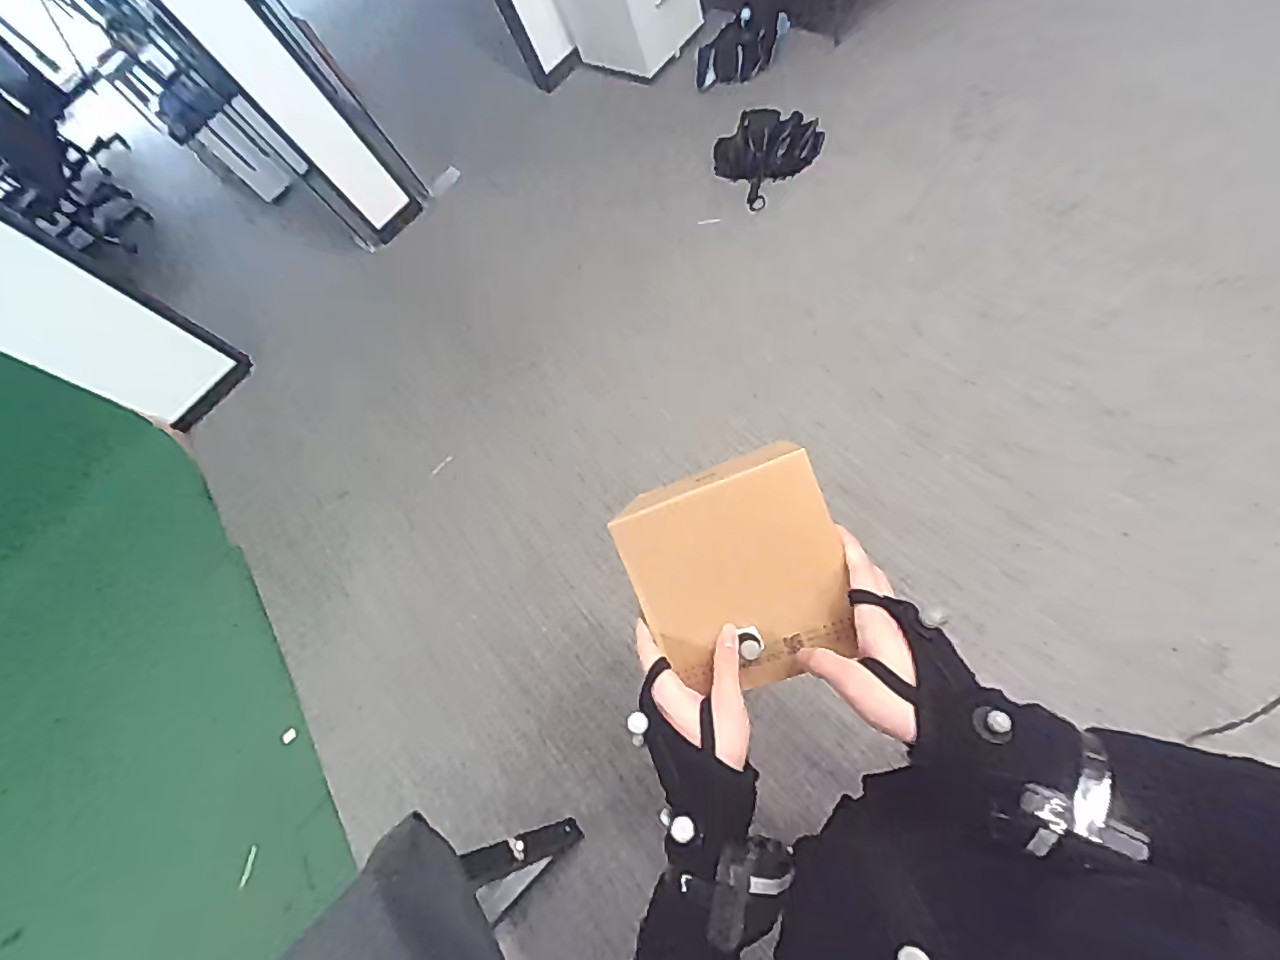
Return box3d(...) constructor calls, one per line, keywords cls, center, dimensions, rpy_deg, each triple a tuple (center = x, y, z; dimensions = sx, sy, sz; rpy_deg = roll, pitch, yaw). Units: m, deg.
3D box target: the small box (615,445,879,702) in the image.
box3d(cls="small box", center=(0.096, 0.076, 0.509), dimensions=(0.168, 0.179, 0.176), rpy_deg=(-23, 92, 9))
